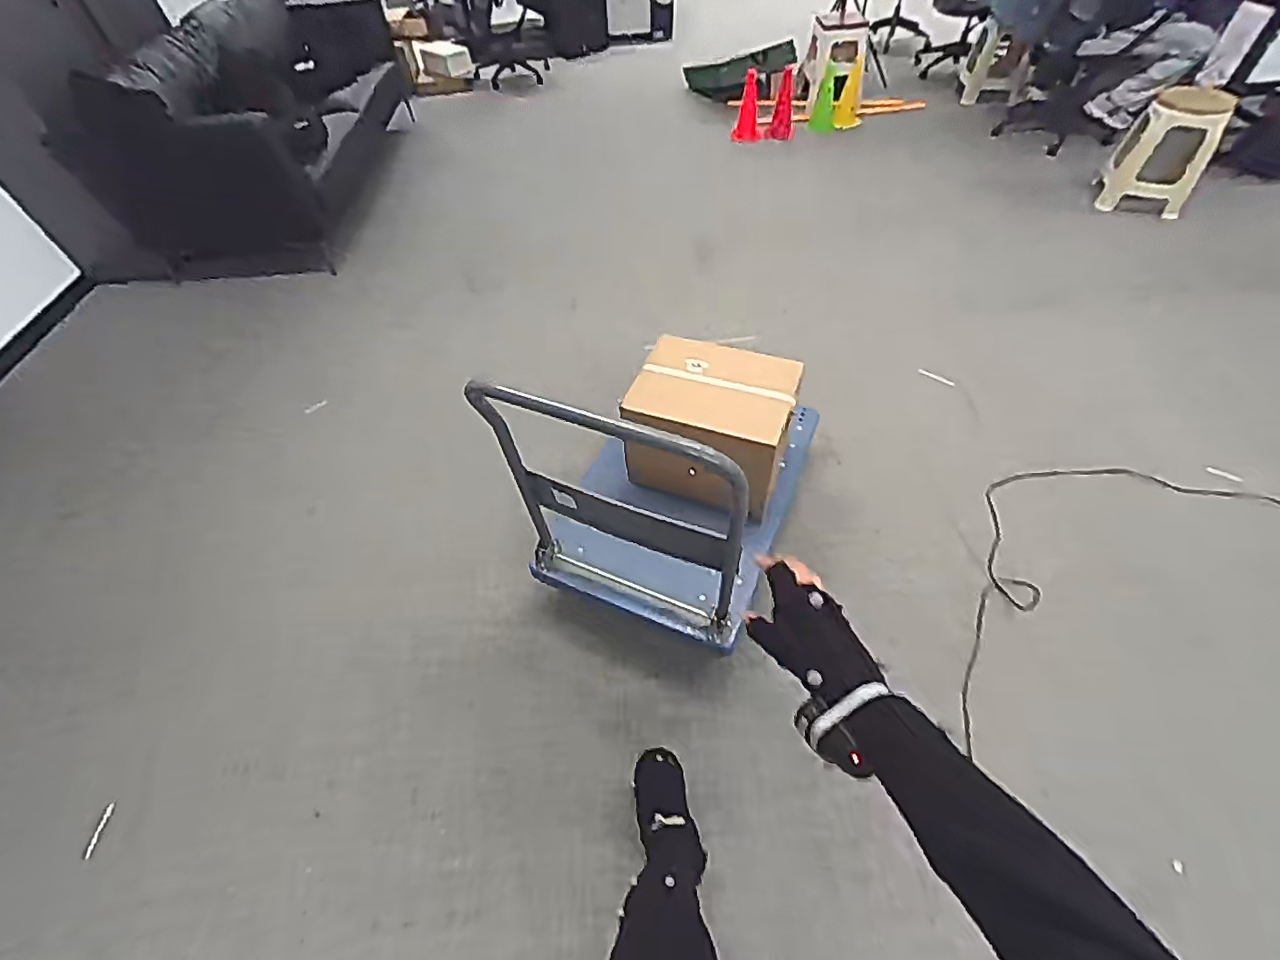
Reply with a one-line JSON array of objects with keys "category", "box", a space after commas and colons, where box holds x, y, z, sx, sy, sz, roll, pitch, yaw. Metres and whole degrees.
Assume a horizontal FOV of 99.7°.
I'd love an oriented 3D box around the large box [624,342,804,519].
[{"category": "large box", "box": [0.210, -0.139, 1.518, 0.408, 0.320, 0.320, 16, 54, 18]}]
